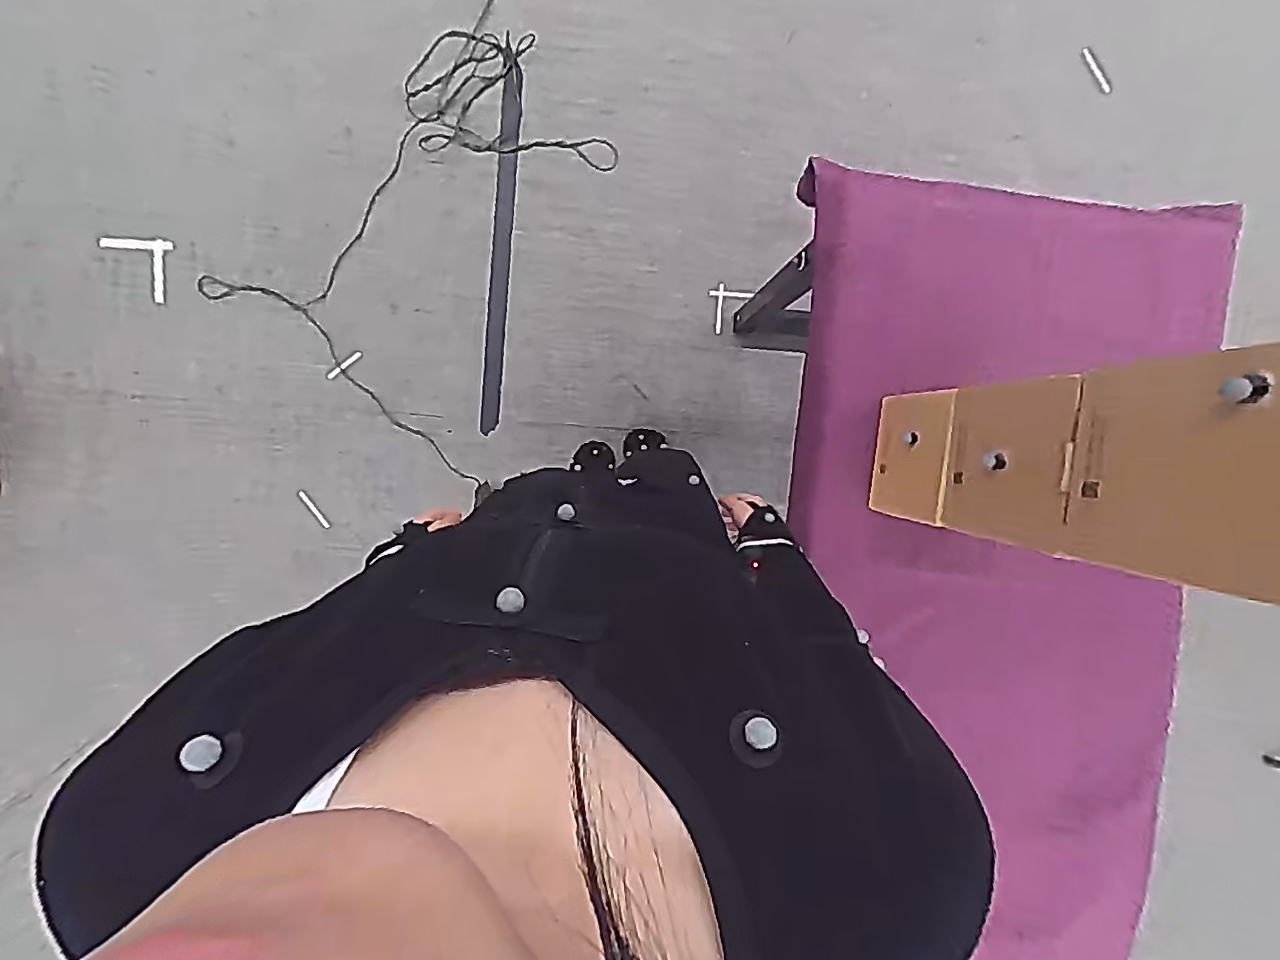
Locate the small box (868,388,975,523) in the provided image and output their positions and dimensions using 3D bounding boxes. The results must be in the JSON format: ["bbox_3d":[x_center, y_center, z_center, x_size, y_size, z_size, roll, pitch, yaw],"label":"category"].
[{"bbox_3d":[0.437,-0.026,0.737,0.179,0.176,0.168,5,94,-6],"label":"small box"}]

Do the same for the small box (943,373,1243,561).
[{"bbox_3d":[0.457,-0.016,0.574,0.179,0.176,0.168,3,94,-5],"label":"small box"}]
